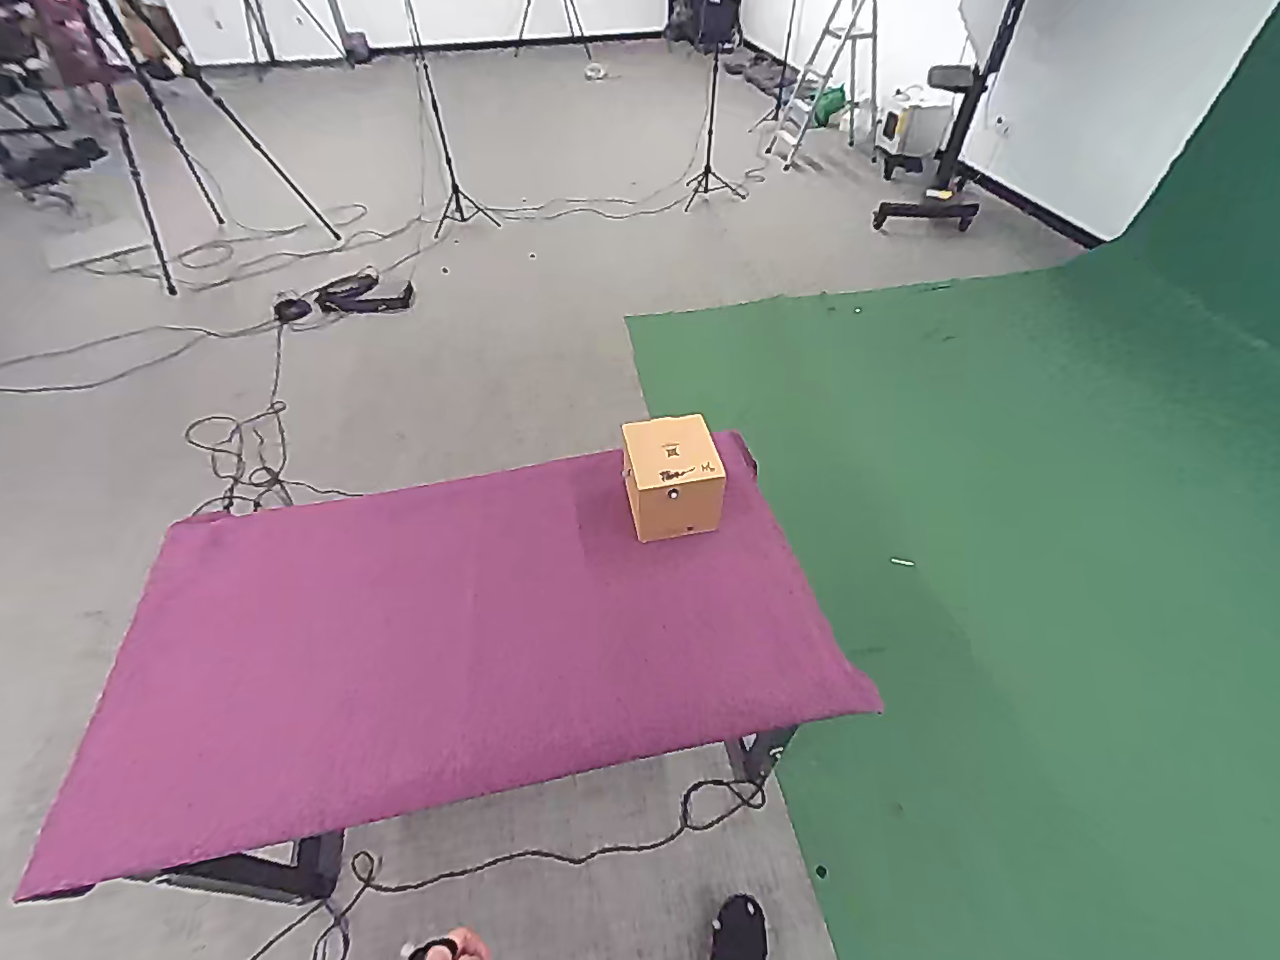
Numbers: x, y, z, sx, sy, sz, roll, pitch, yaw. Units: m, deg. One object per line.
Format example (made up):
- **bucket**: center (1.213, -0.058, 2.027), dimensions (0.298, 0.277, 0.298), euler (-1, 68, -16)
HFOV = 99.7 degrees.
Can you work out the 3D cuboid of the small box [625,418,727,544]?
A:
- **small box**: center (0.064, 0.002, 1.084), dimensions (0.168, 0.176, 0.179), euler (-9, 48, -6)
